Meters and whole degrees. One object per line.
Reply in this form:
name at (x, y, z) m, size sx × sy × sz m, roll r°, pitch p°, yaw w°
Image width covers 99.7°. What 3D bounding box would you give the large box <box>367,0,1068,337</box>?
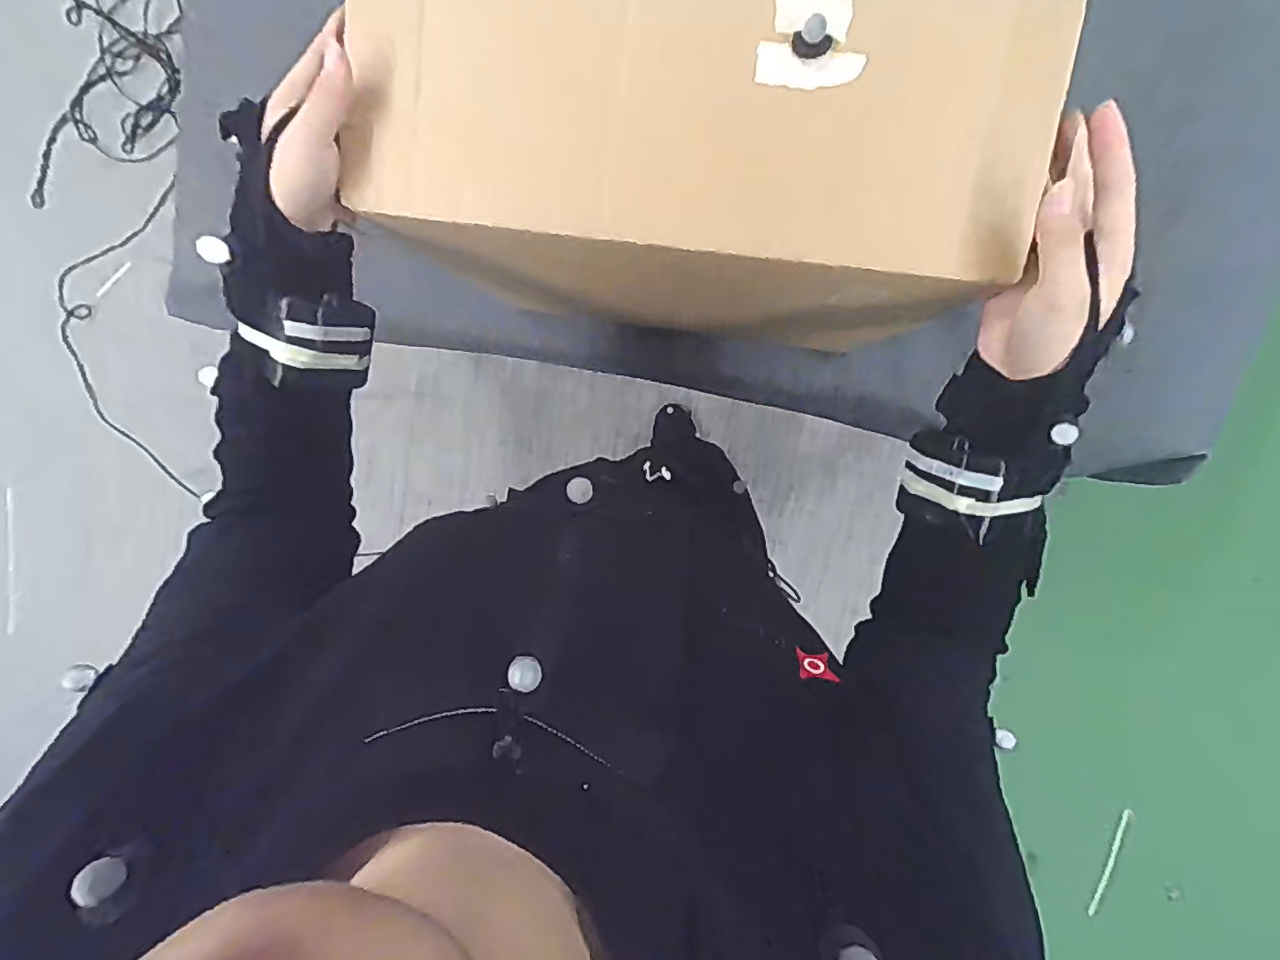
large box at (0.051, -0.317, 0.457) m, size 0.408 × 0.320 × 0.320 m, roll 8°, pitch 98°, yaw 3°
